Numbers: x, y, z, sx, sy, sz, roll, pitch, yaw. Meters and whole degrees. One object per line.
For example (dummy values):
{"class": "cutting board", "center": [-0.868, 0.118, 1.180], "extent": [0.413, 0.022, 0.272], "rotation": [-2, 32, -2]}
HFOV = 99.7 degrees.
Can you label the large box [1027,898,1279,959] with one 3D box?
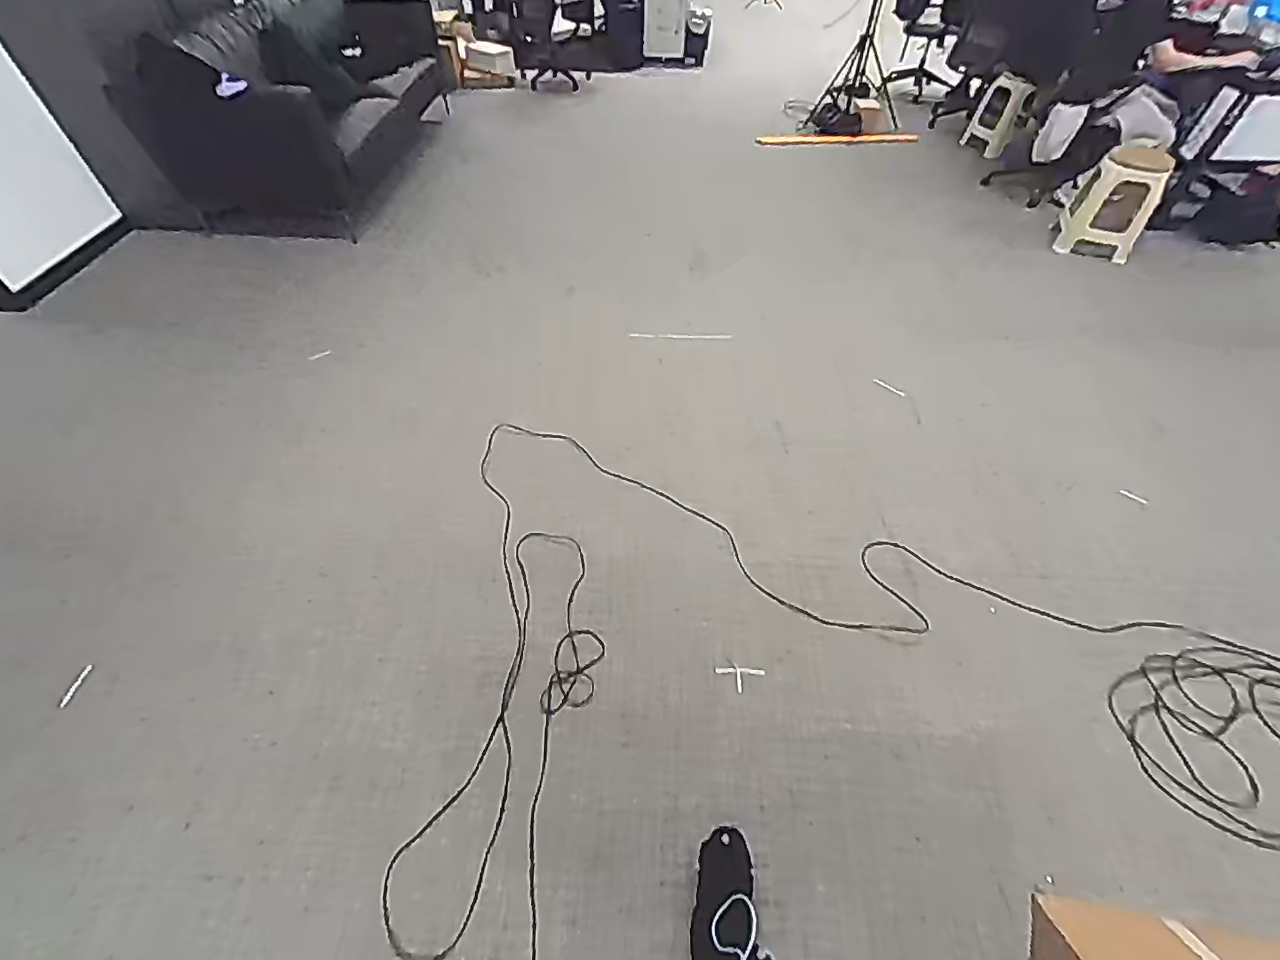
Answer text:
{"class": "large box", "center": [0.638, 0.723, 0.518], "extent": [0.320, 0.408, 0.320], "rotation": [6, 86, 11]}
